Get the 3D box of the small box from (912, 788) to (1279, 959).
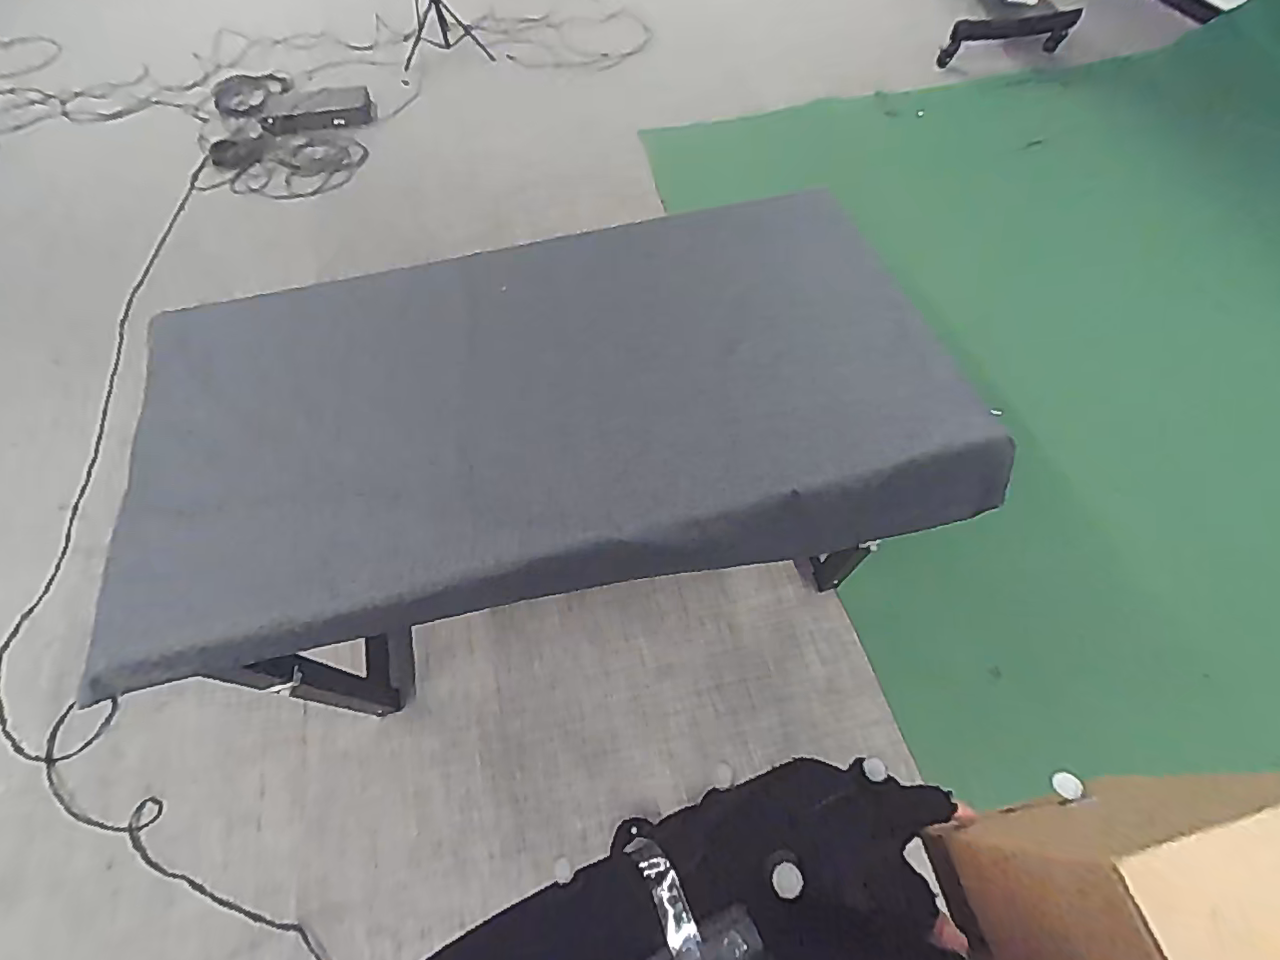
[{"bbox_3d":[0.293,0.280,0.296,0.168,0.176,0.179,-6,60,-11],"label":"small box"}]
